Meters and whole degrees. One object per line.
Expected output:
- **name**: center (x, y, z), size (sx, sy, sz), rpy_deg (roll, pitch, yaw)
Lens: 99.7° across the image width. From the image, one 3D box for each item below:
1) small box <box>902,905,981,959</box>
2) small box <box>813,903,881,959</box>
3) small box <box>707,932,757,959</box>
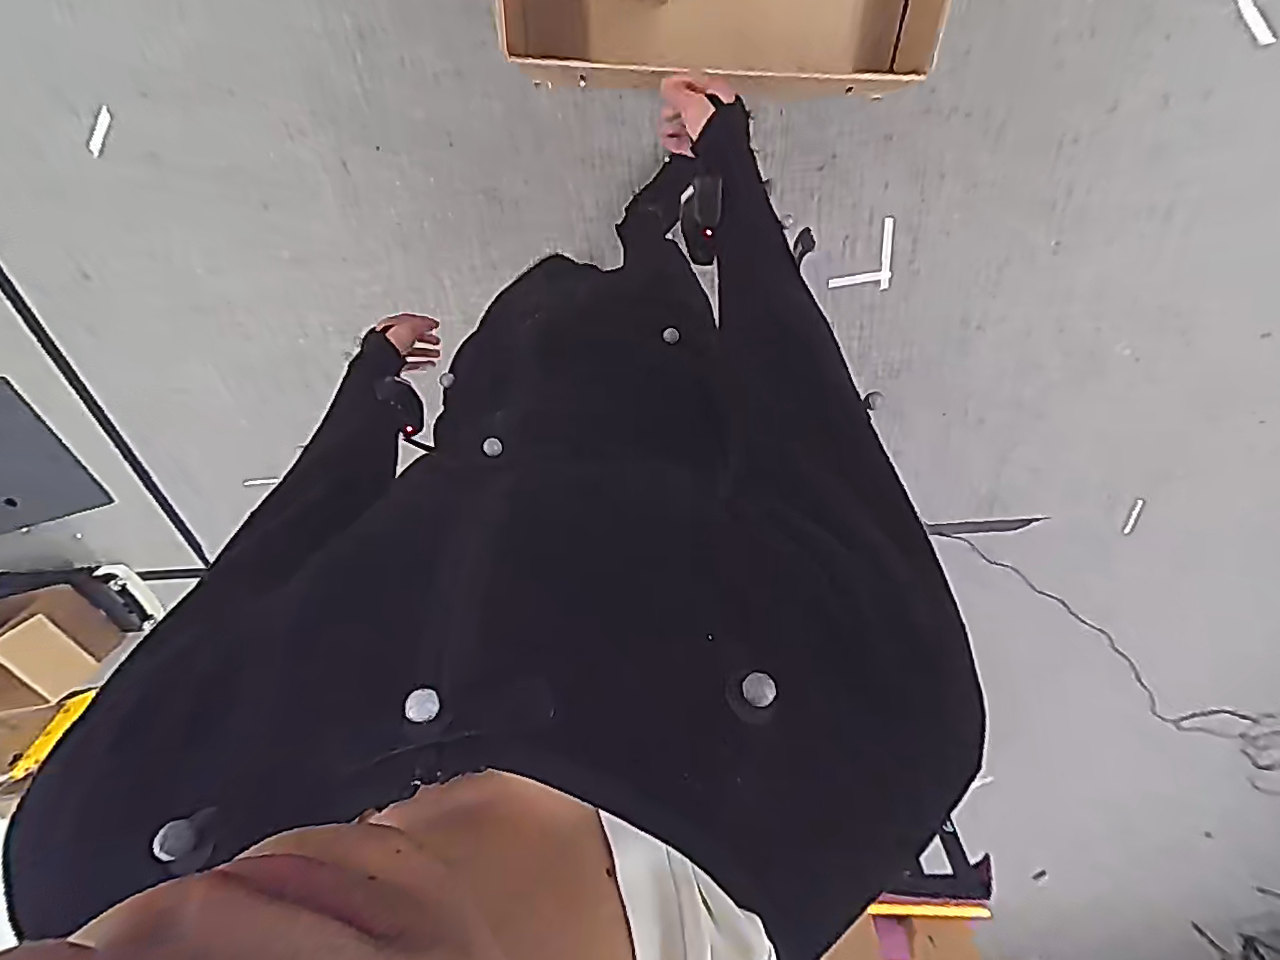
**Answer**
- **small box**: center (0.965, 1.500, 1.739), size (0.179, 0.176, 0.168), rpy_deg (-3, 123, 8)
- **small box**: center (0.672, 1.516, 1.769), size (0.179, 0.176, 0.168), rpy_deg (-4, 122, 7)
- **small box**: center (0.334, 1.762, 1.948), size (0.179, 0.176, 0.168), rpy_deg (-4, 121, 5)
